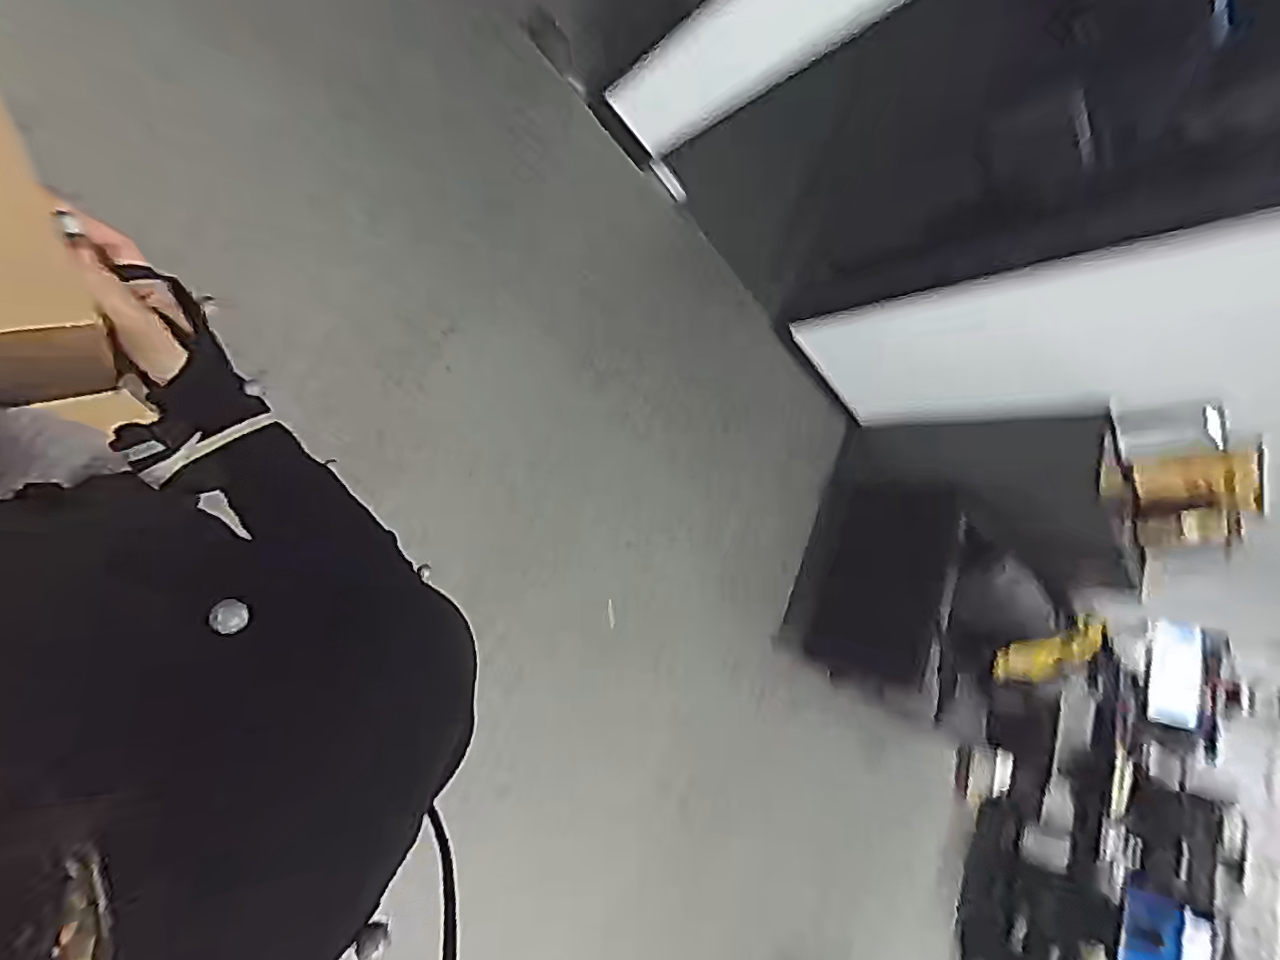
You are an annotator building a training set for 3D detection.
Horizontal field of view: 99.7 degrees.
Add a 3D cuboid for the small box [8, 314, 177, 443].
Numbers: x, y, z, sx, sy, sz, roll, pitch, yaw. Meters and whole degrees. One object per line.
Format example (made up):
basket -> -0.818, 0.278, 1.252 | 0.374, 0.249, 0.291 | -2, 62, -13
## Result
small box -> -1.023, -0.182, 1.029 | 0.168, 0.176, 0.179 | 31, 71, -38
